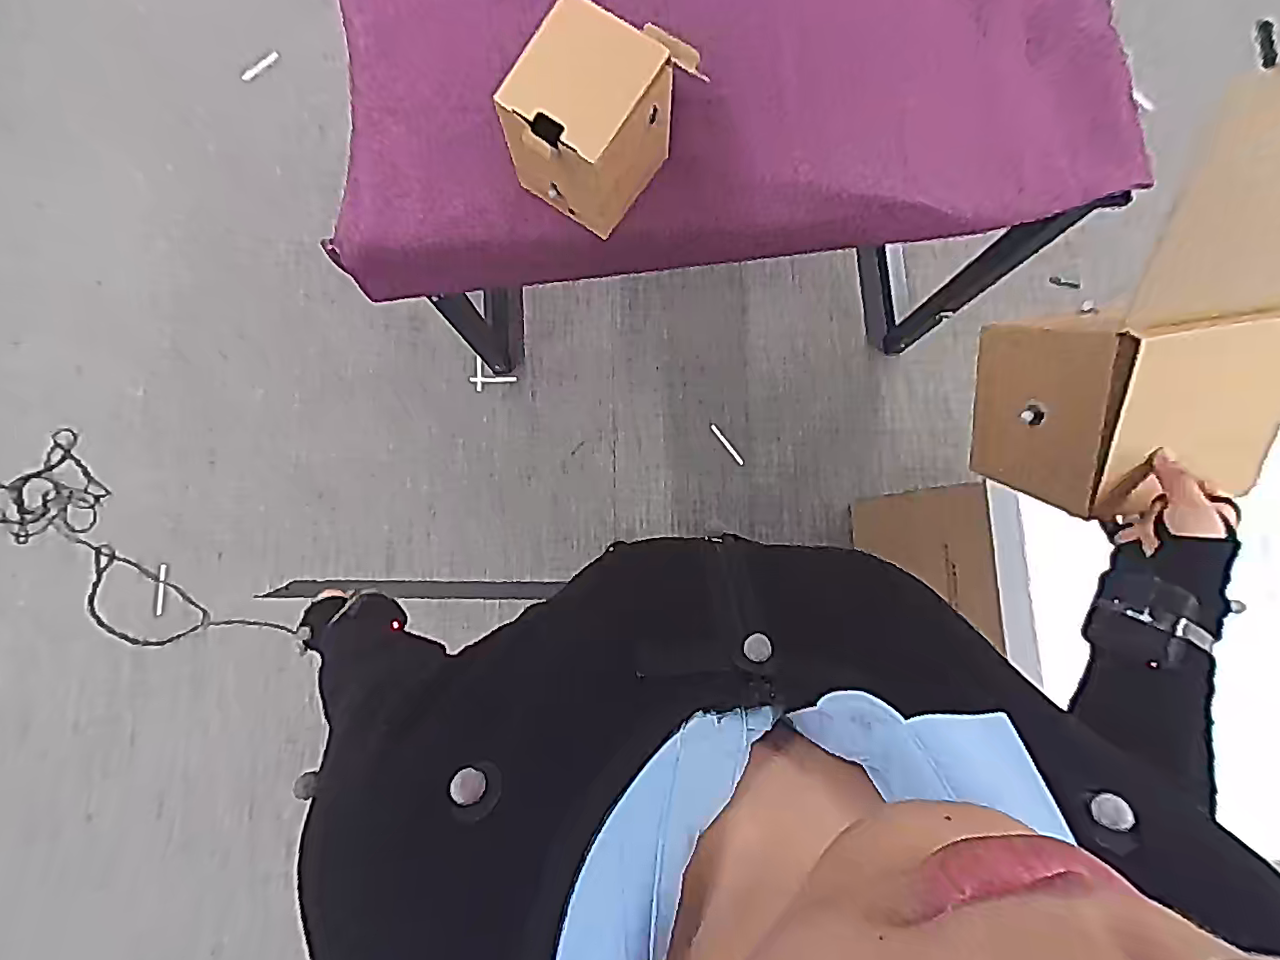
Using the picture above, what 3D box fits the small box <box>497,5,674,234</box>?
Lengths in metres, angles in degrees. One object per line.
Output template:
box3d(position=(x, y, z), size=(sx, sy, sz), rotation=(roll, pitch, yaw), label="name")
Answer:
box3d(position=(-0.071, -0.501, 0.774), size=(0.168, 0.176, 0.179), rotation=(35, 84, 6), label="small box")
